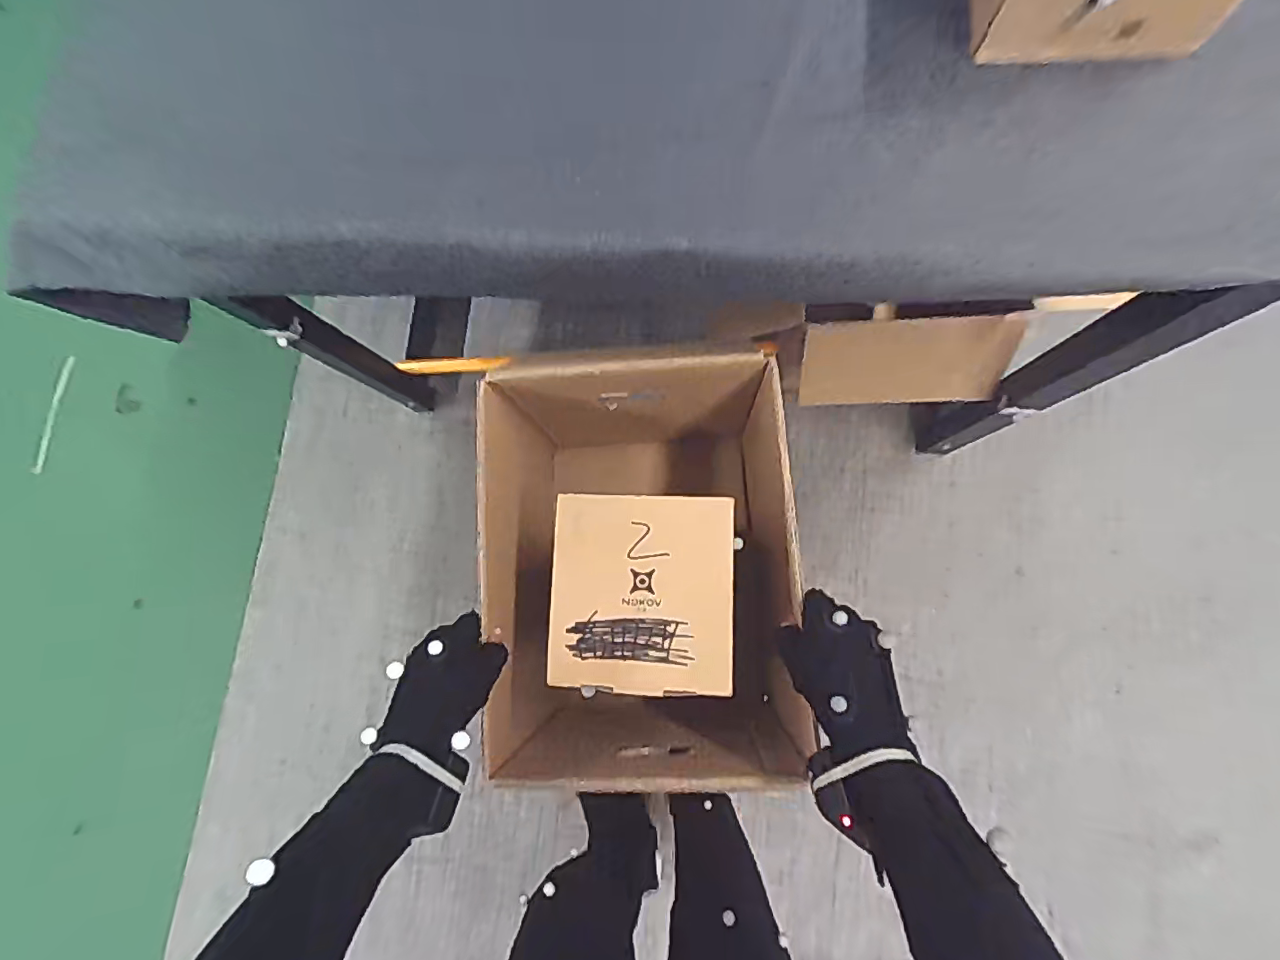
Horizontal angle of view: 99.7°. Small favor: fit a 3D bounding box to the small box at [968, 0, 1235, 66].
[{"bbox_3d":[0.352,-0.438,0.377,0.168,0.176,0.179,4,82,8],"label":"small box"}]
